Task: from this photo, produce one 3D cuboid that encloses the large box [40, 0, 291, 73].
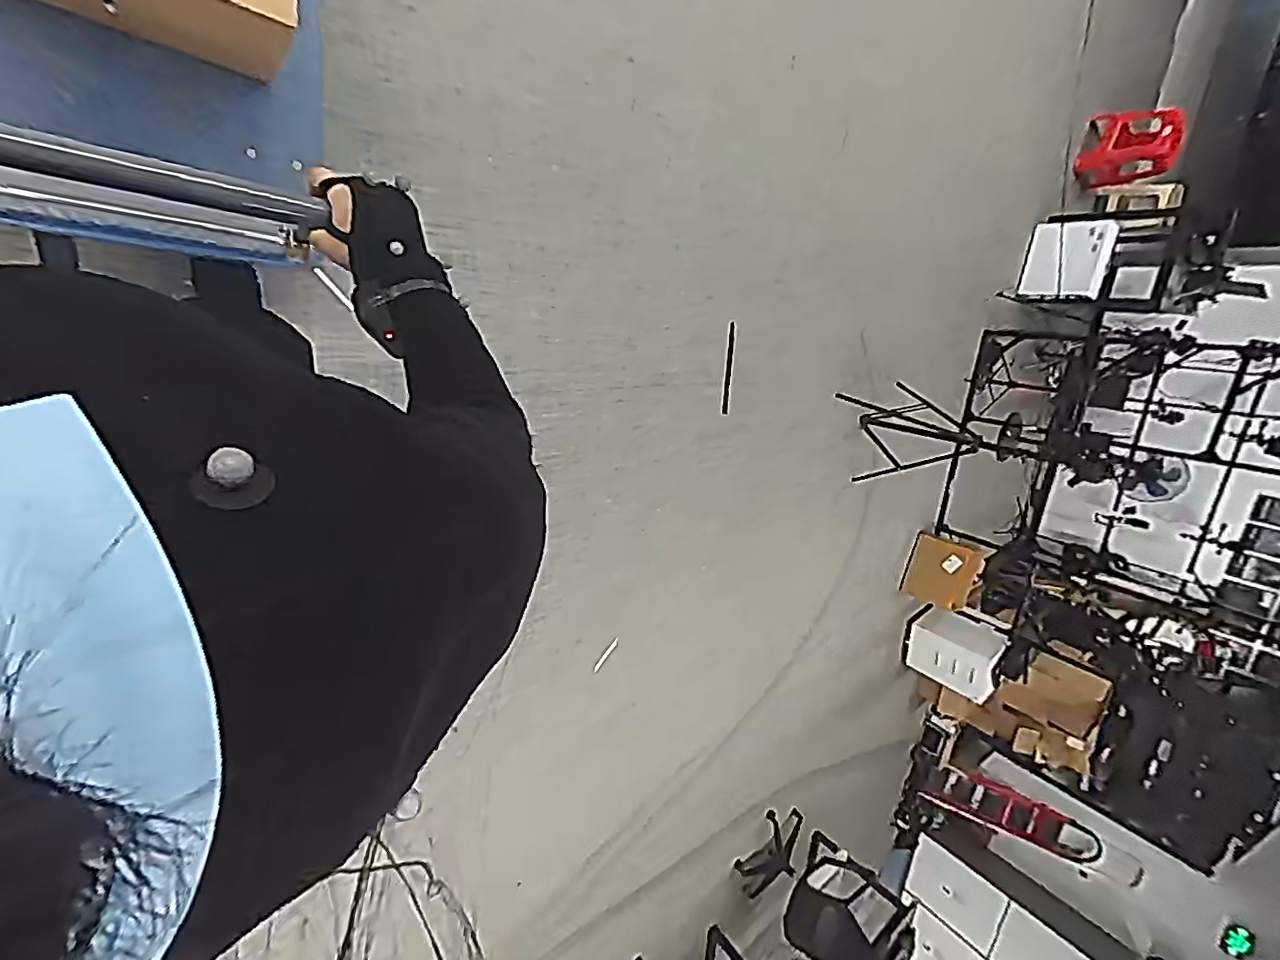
[{"bbox_3d":[-0.712,-0.814,0.702,0.408,0.320,0.320,-4,109,-39],"label":"large box"}]
